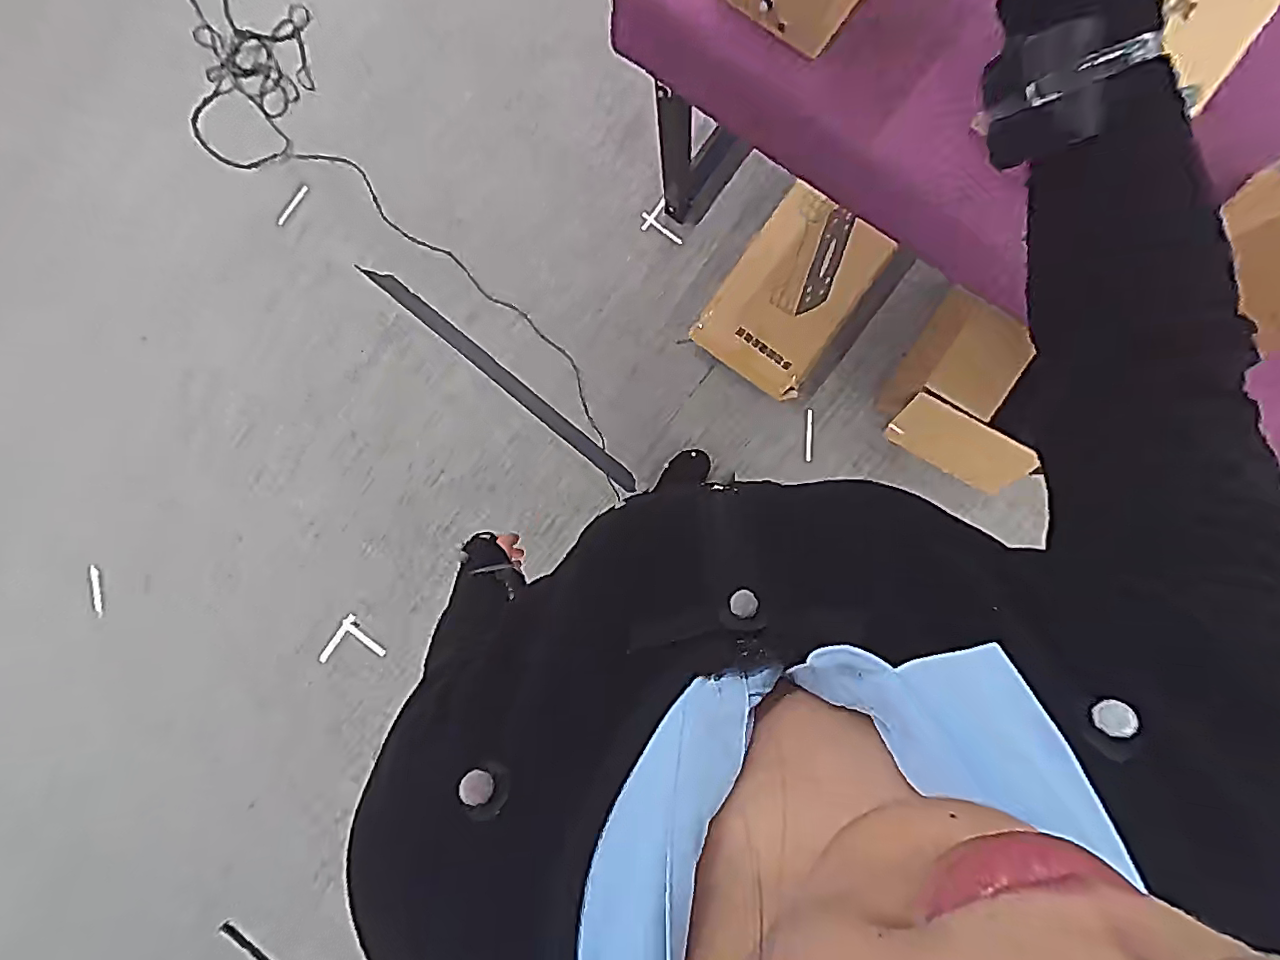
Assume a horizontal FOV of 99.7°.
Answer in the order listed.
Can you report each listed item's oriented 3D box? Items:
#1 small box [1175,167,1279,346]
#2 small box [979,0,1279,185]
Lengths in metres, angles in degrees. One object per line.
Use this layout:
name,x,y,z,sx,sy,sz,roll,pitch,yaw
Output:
small box,0.799,-0.280,0.620,0.179,0.176,0.168,44,94,3
small box,0.559,-0.488,0.635,0.179,0.176,0.168,36,92,3
